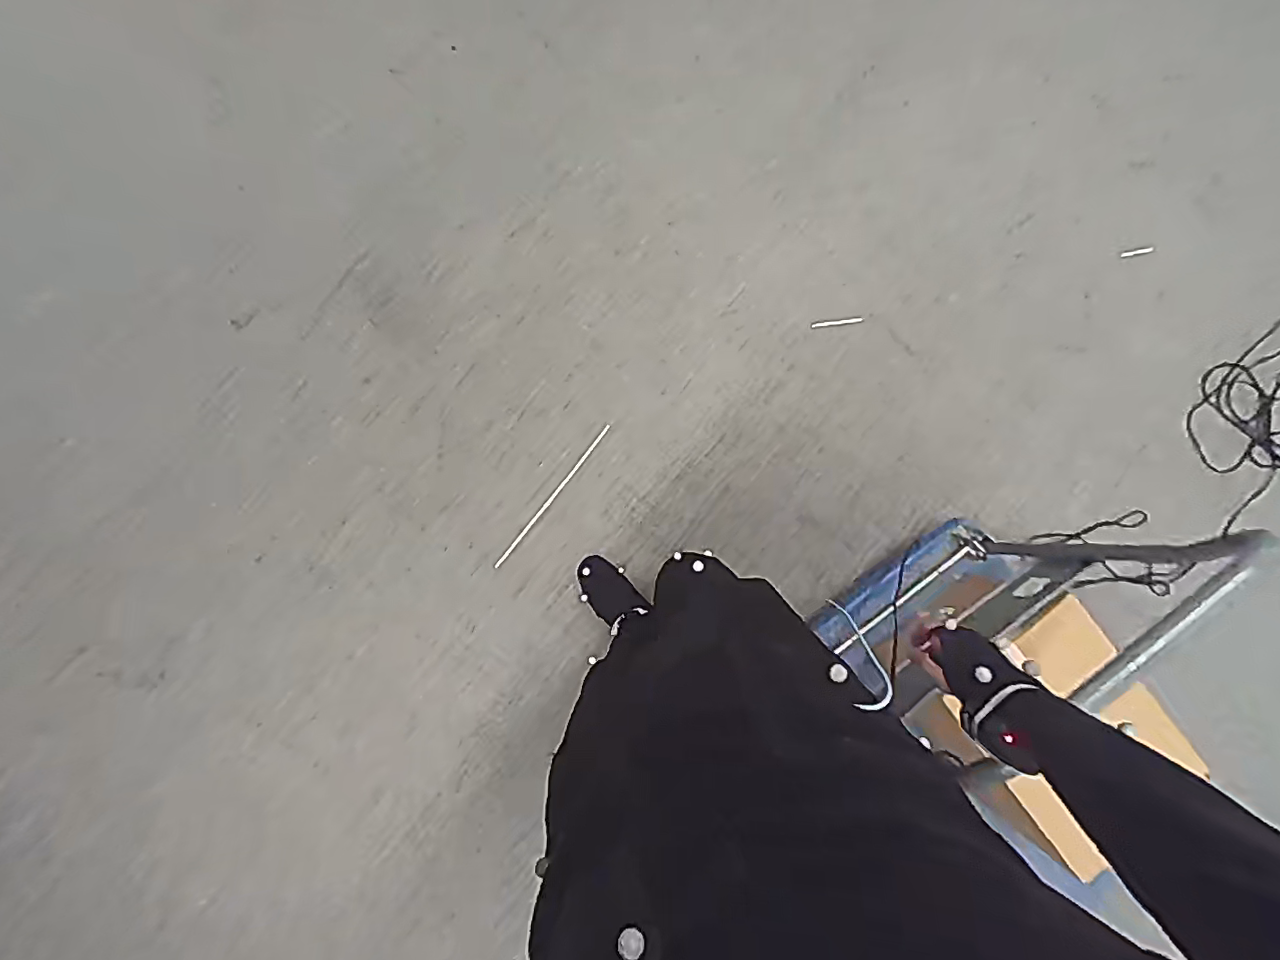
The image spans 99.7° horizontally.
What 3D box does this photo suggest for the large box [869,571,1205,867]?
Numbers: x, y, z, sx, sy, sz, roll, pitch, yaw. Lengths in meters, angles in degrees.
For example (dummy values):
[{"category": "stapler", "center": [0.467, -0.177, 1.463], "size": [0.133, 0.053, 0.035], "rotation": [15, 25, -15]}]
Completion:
[{"category": "large box", "center": [0.772, 0.448, 1.117], "size": [0.320, 0.320, 0.408], "rotation": [-37, 88, -3]}]
